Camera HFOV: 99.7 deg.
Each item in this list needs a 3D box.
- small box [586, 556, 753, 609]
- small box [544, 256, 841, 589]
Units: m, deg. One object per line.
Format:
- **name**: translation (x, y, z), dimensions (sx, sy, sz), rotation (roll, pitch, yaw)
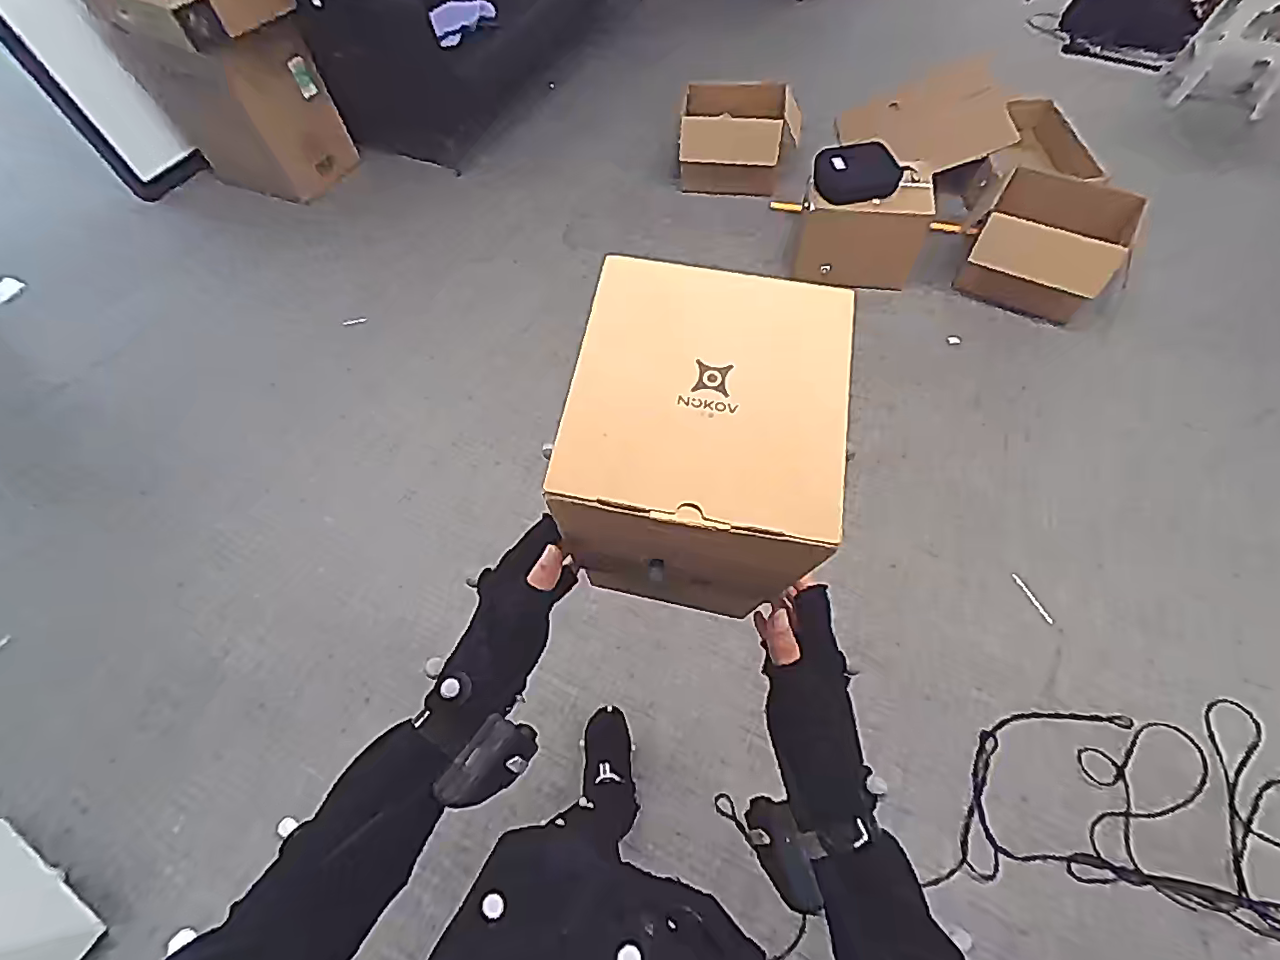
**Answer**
- **small box**: translation (0.043, 0.027, 0.558), dimensions (0.179, 0.176, 0.168), rotation (12, 68, 4)
- **small box**: translation (0.038, -0.031, 0.406), dimensions (0.168, 0.176, 0.179), rotation (9, 68, 4)
